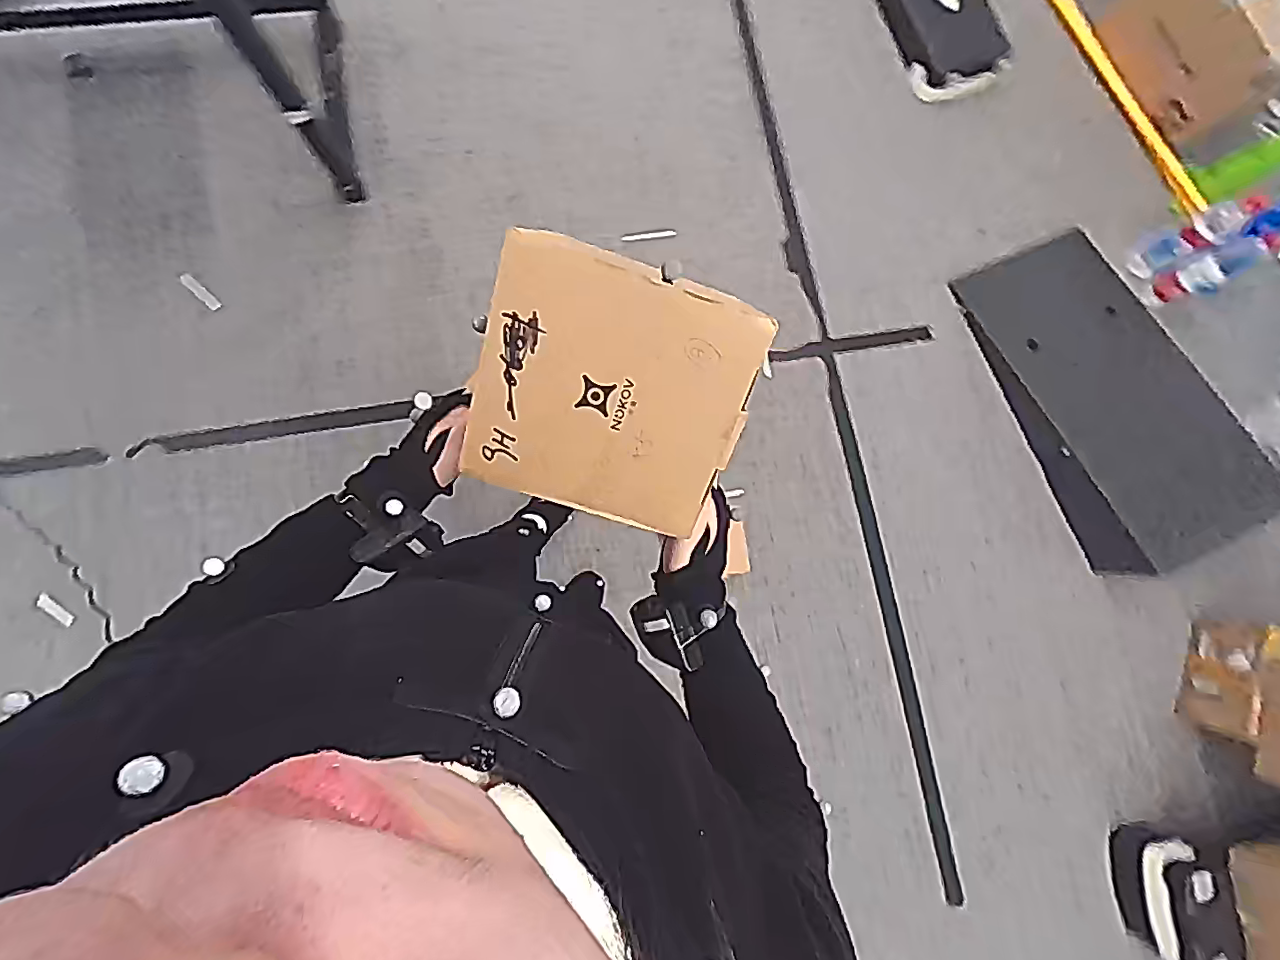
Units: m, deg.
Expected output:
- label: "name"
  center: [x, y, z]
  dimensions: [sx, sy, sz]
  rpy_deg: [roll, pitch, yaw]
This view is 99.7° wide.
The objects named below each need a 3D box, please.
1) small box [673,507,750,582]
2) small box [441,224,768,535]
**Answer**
- label: "small box"
  center: [0.183, 0.169, 1.442]
  dimensions: [0.168, 0.176, 0.179]
  rpy_deg: [-7, 84, -6]
- label: "small box"
  center: [-0.029, -0.085, 0.418]
  dimensions: [0.179, 0.176, 0.168]
  rpy_deg: [16, 112, -7]
